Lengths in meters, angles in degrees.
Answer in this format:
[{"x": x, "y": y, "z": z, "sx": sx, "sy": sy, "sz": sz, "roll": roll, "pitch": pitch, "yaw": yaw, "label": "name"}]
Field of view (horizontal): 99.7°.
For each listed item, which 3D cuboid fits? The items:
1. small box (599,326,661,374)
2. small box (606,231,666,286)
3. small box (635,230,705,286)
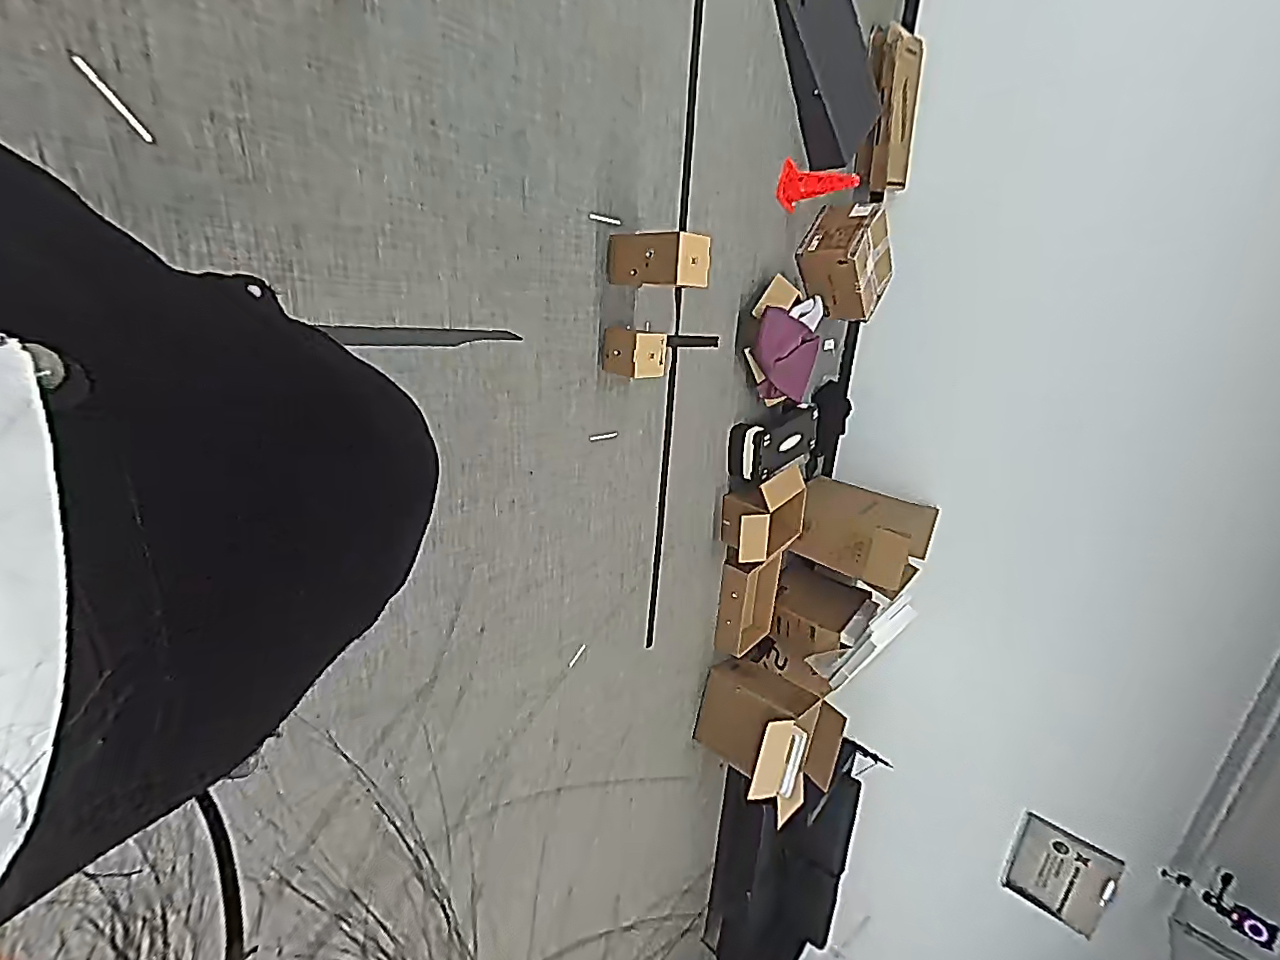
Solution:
[{"x": -0.042, "y": -0.502, "z": 2.087, "sx": 0.179, "sy": 0.176, "sz": 0.168, "roll": -14, "pitch": 116, "yaw": -46, "label": "small box"}, {"x": -0.013, "y": -0.811, "z": 1.985, "sx": 0.168, "sy": 0.176, "sz": 0.179, "roll": -19, "pitch": 119, "yaw": -46, "label": "small box"}, {"x": 0.104, "y": -0.770, "z": 1.881, "sx": 0.179, "sy": 0.176, "sz": 0.168, "roll": -17, "pitch": 116, "yaw": -45, "label": "small box"}]
